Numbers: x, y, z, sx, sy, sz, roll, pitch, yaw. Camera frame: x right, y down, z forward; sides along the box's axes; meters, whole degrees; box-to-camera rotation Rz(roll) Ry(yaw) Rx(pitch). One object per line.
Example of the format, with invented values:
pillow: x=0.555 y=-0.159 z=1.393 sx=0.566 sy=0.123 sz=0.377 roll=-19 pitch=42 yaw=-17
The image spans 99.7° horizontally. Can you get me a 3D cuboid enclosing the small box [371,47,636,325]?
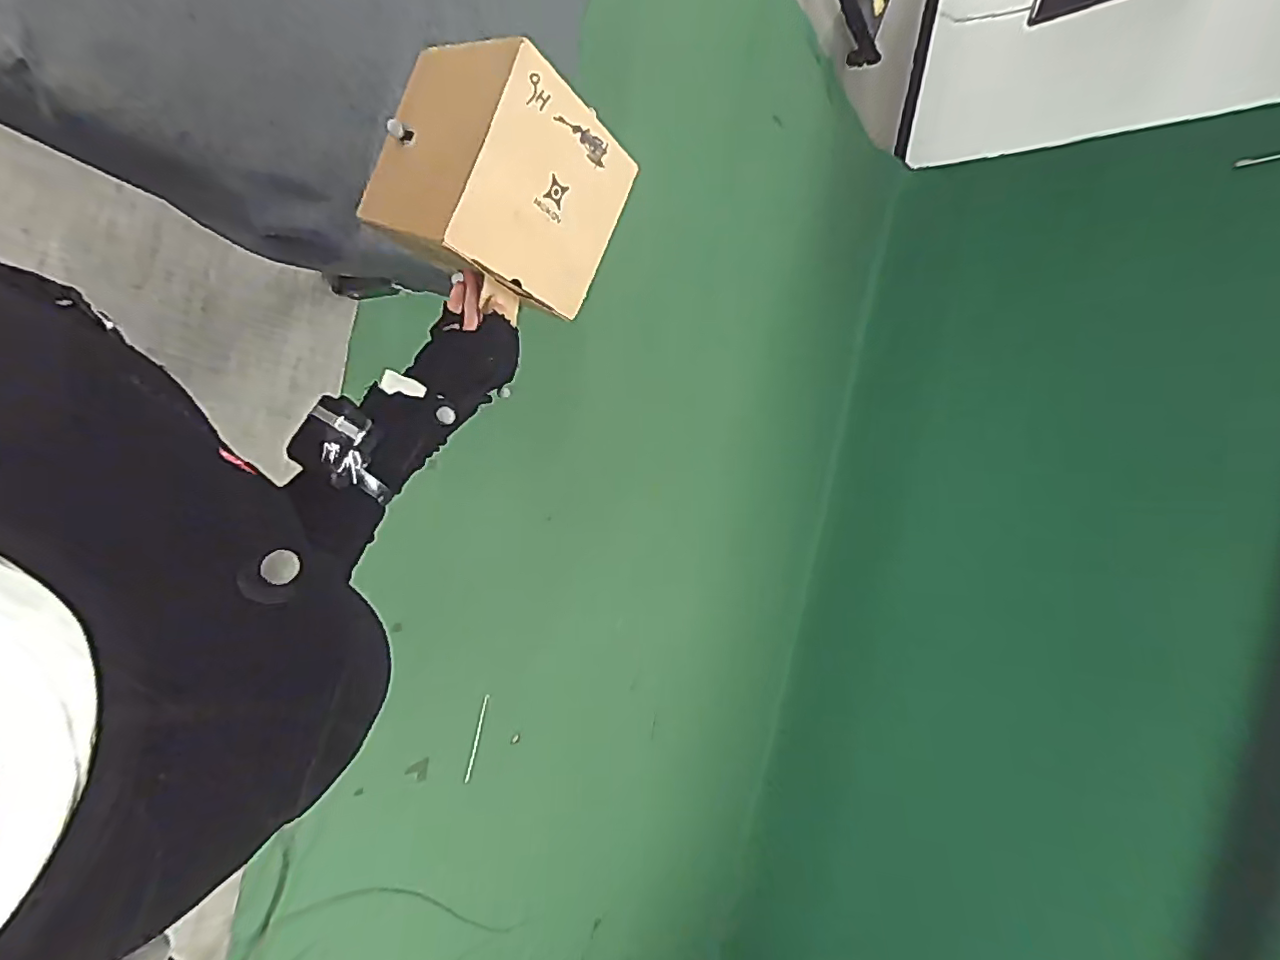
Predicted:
small box: x=-0.142 y=-0.288 z=0.548 sx=0.168 sy=0.176 sz=0.179 roll=16 pitch=102 yaw=-55
